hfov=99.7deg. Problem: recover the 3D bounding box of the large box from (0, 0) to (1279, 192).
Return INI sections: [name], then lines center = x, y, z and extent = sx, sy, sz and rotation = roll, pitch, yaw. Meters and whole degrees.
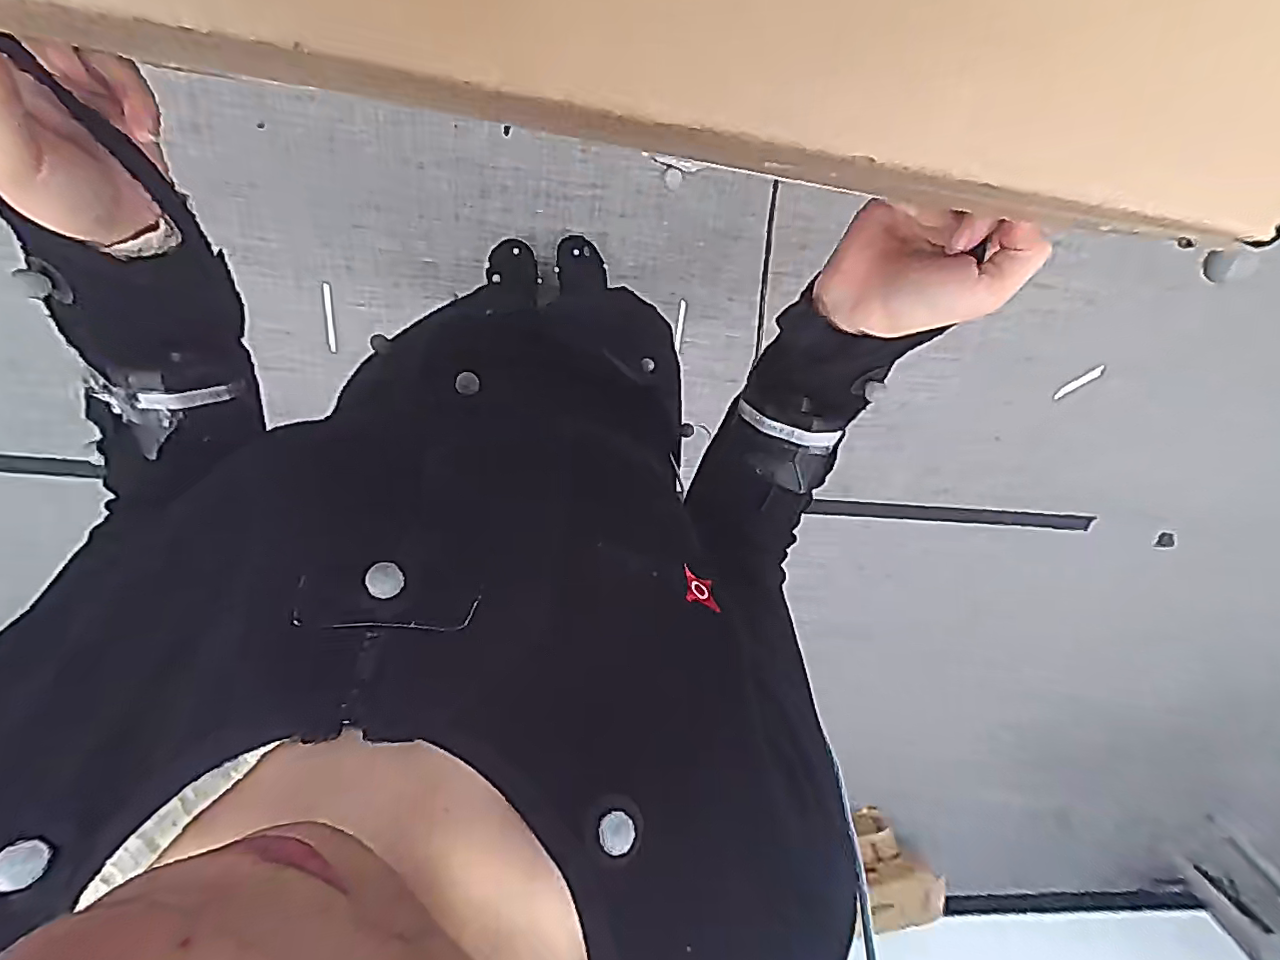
[large box]
center = -0.017, -0.295, 0.154
extent = 0.408, 0.320, 0.320
rotation = 4, 123, -10
